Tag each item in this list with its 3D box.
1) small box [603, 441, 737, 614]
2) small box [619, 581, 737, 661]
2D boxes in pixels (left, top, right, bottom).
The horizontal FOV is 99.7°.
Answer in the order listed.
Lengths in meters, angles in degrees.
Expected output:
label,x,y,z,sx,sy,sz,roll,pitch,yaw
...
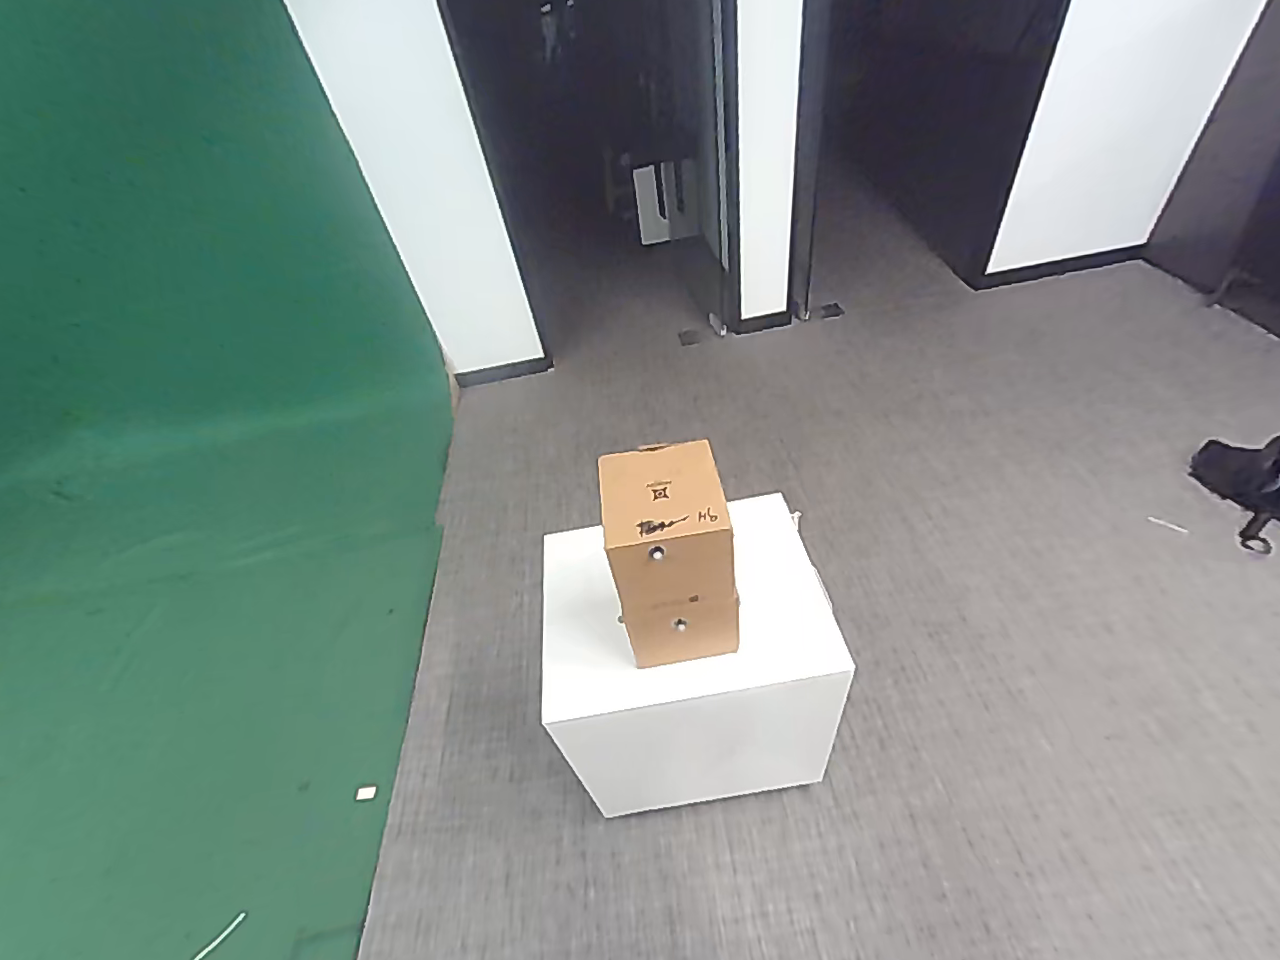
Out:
label,x,y,z,sx,sy,sz,roll,pitch,yaw
small box,0.042,0.071,0.803,0.168,0.176,0.179,-10,45,-1
small box,0.061,0.187,0.913,0.179,0.176,0.168,-10,45,0
